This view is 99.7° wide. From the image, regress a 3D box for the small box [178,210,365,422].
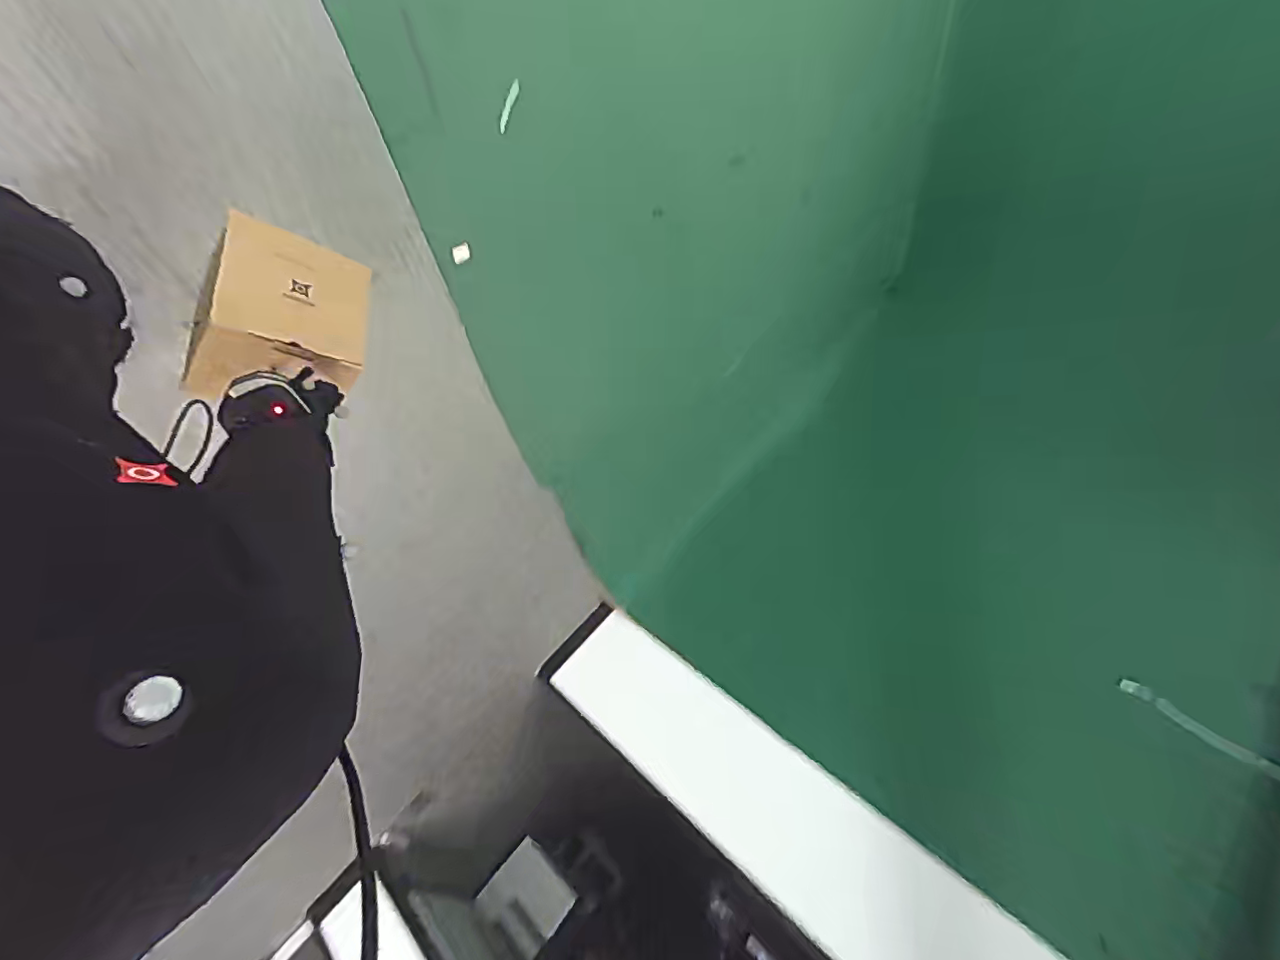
[{"bbox_3d":[-0.482,-0.199,0.713,0.176,0.179,0.168,-31,150,35],"label":"small box"}]
